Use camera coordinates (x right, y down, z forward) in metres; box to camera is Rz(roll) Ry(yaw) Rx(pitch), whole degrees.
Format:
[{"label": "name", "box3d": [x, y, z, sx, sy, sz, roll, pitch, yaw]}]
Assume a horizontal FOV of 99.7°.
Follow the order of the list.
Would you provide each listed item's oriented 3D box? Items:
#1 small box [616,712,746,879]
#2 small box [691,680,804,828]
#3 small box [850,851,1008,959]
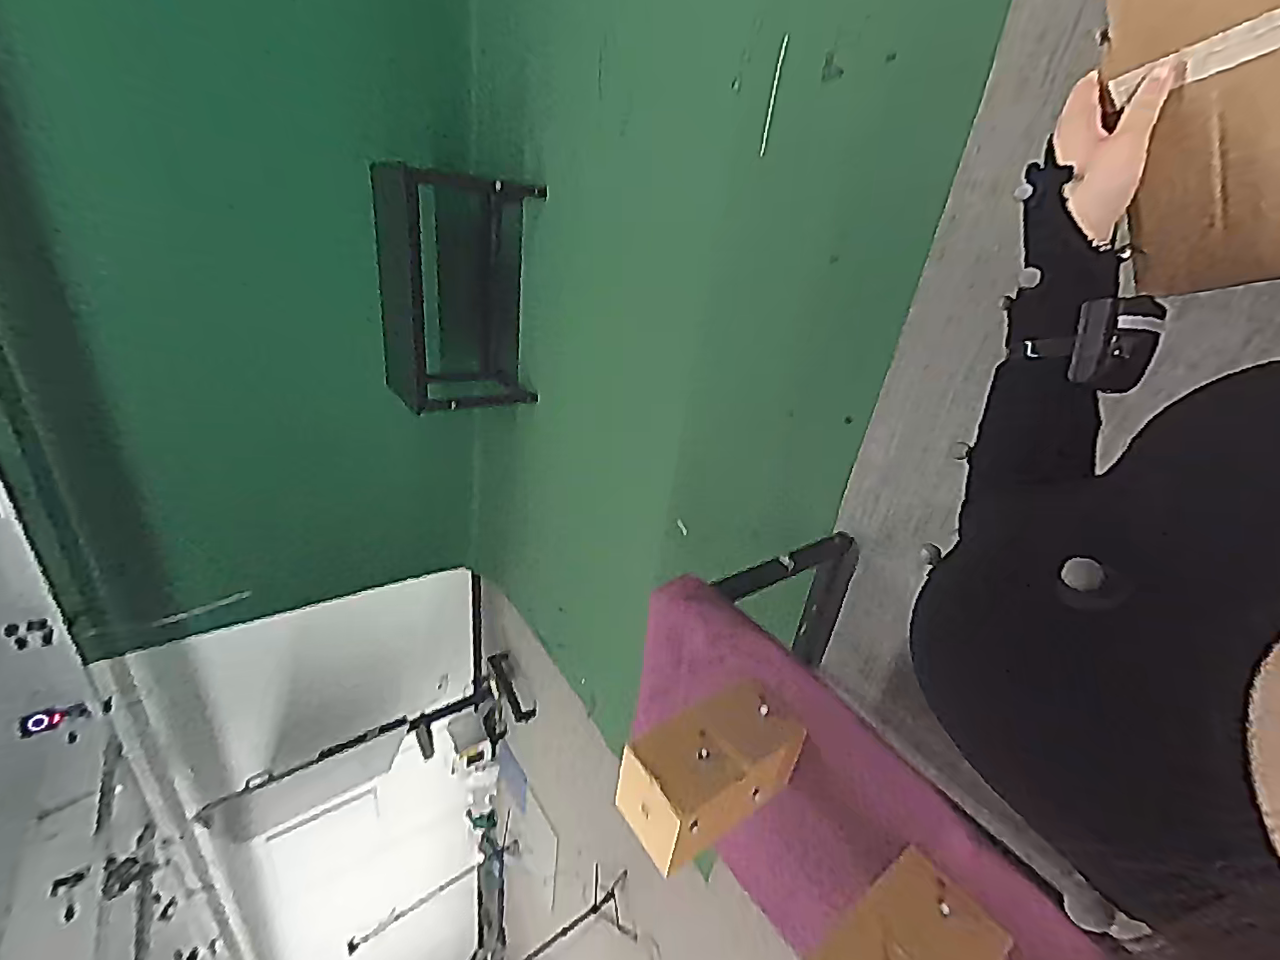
[{"label": "small box", "box3d": [0.076, 0.580, 1.012, 0.168, 0.176, 0.179, 35, 126, 43]}, {"label": "small box", "box3d": [0.206, 0.549, 1.103, 0.168, 0.176, 0.179, 36, 126, 43]}, {"label": "small box", "box3d": [0.434, 0.741, 0.845, 0.168, 0.176, 0.179, 34, 126, 44]}]
